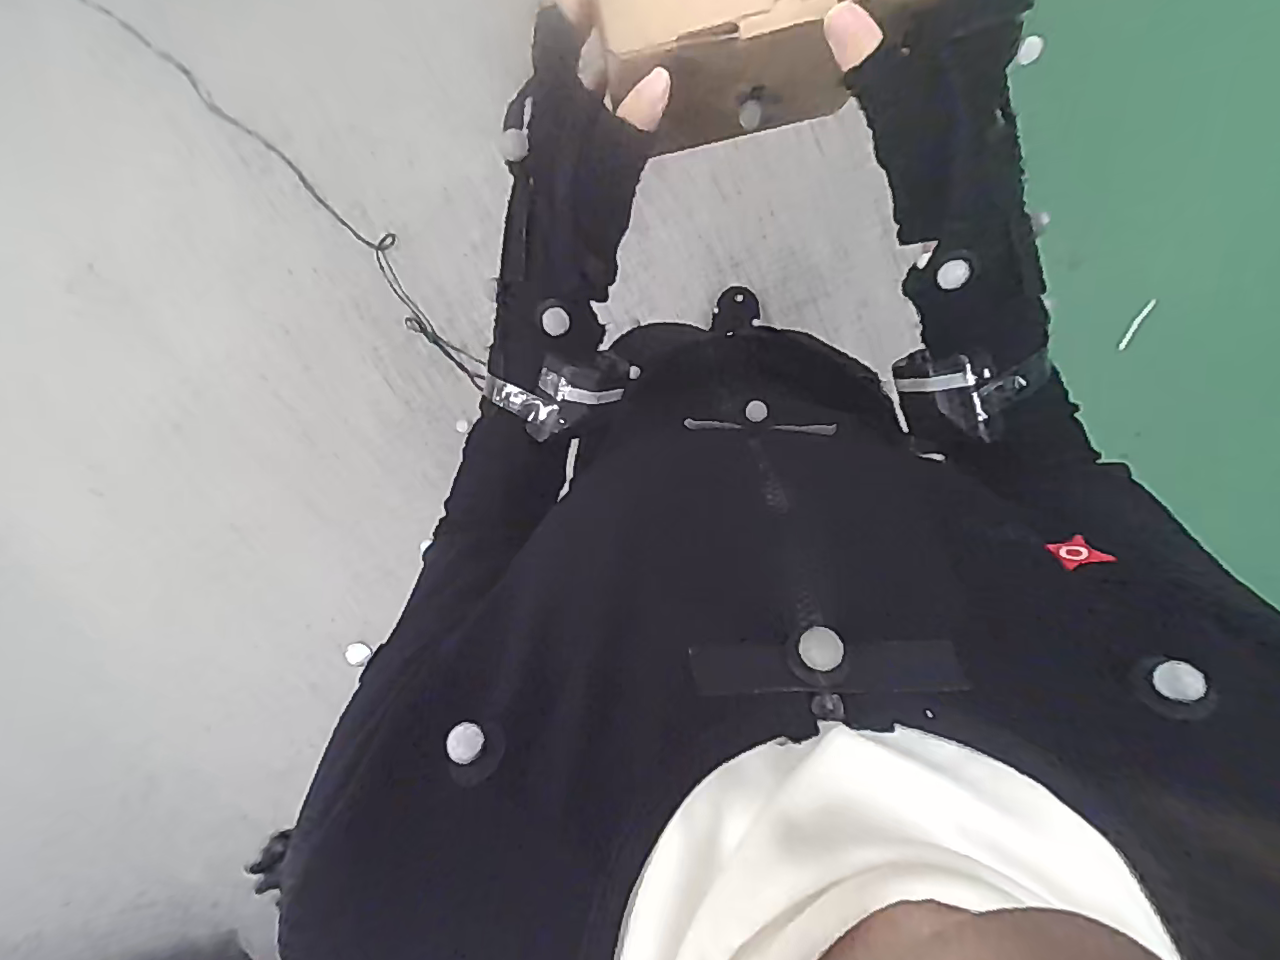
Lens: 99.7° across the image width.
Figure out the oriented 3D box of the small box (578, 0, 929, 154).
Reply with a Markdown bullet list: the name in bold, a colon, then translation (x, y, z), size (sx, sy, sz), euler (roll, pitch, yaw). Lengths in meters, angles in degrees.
- **small box**: translation (0.043, -0.306, 0.299), size (0.168, 0.176, 0.179), euler (-13, 106, 3)
